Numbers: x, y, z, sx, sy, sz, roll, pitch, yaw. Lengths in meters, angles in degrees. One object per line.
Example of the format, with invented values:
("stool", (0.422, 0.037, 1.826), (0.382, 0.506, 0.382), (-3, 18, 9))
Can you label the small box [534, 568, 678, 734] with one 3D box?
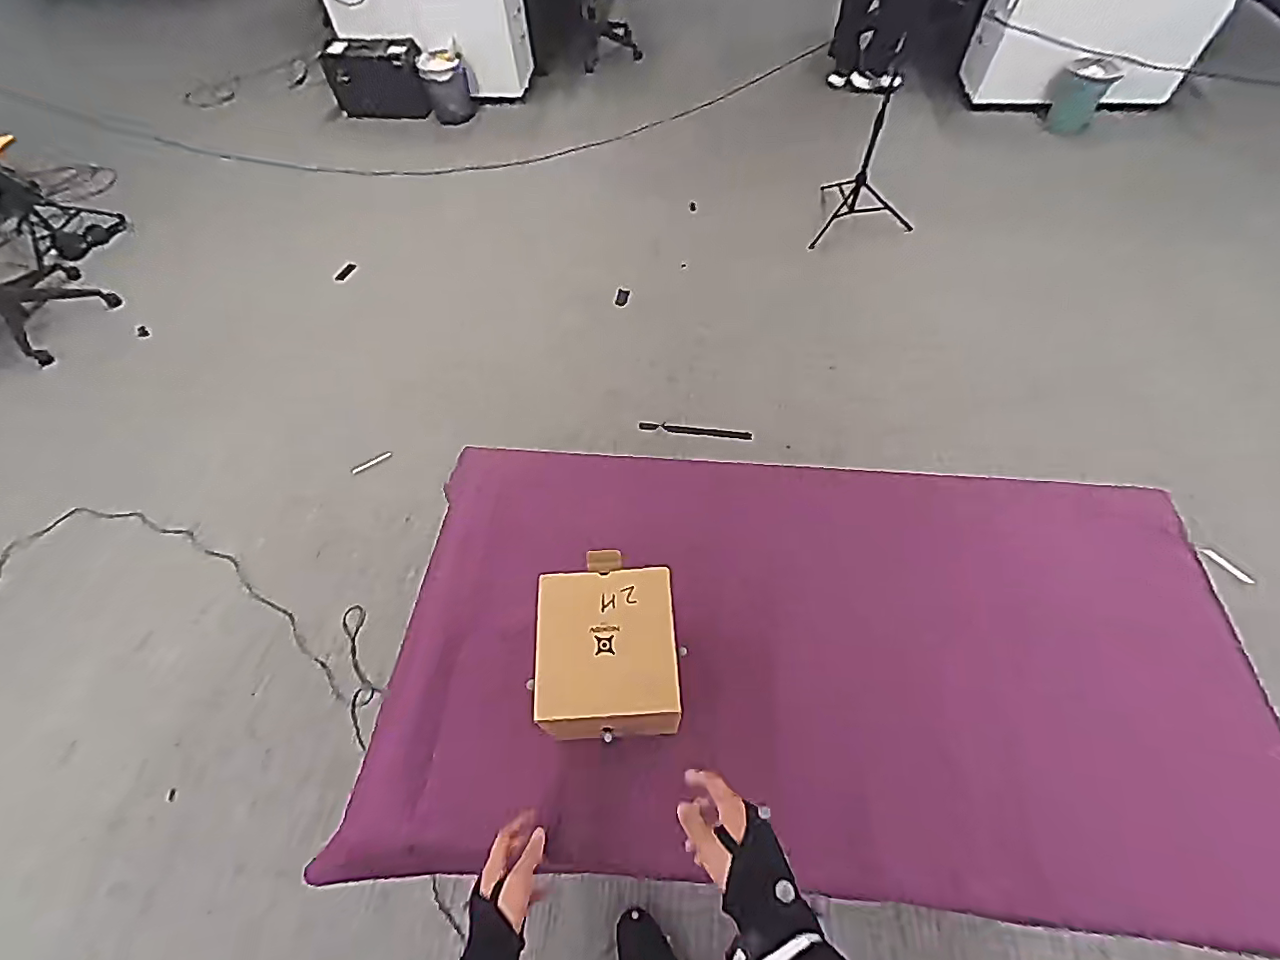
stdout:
("small box", (-0.037, 0.231, 0.710), (0.168, 0.176, 0.179), (-3, 57, 0))
